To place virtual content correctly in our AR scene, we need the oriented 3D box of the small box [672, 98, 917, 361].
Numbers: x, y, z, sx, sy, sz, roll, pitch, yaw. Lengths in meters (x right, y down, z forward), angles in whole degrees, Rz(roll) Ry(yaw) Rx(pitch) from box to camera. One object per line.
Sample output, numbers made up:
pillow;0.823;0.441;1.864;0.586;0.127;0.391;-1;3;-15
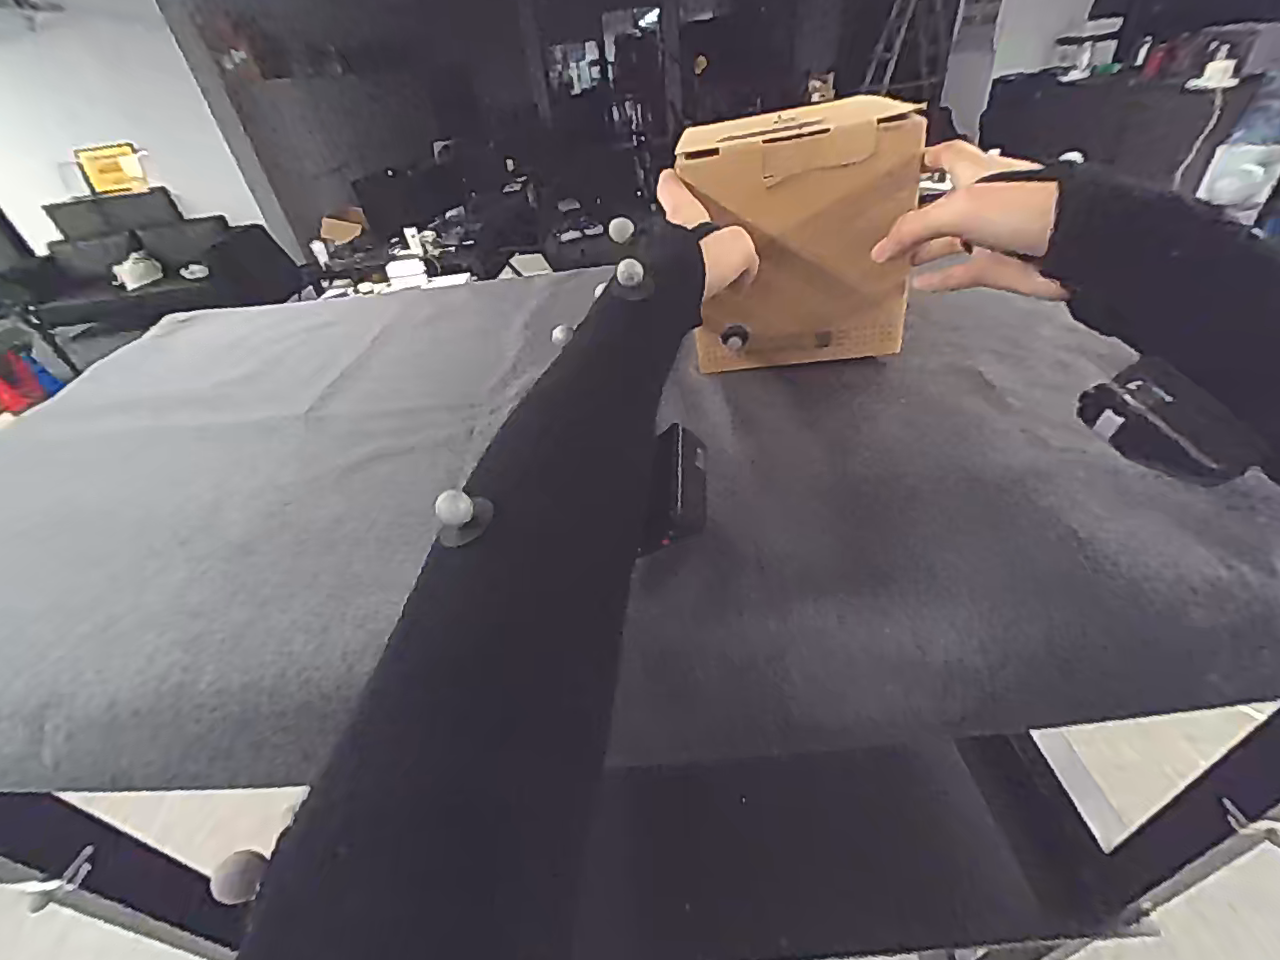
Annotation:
small box;0.126;-0.214;0.476;0.168;0.176;0.179;-3;37;11
